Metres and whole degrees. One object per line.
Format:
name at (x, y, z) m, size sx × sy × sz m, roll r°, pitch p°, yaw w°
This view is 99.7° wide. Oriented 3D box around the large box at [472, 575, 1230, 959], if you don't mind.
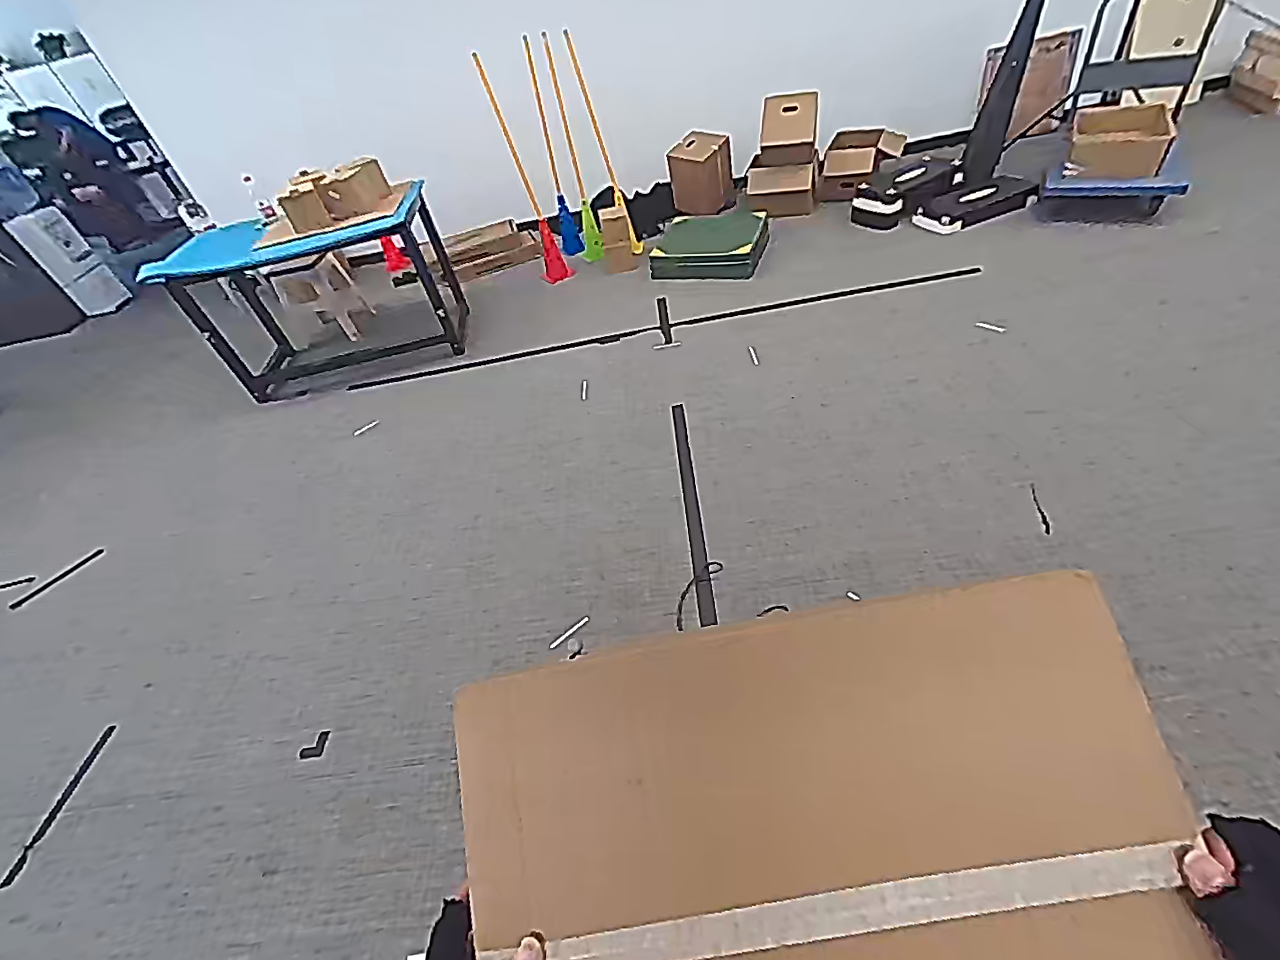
large box at (0.124, 0.284, 0.454) m, size 0.408 × 0.320 × 0.320 m, roll -12°, pitch 75°, yaw 4°
